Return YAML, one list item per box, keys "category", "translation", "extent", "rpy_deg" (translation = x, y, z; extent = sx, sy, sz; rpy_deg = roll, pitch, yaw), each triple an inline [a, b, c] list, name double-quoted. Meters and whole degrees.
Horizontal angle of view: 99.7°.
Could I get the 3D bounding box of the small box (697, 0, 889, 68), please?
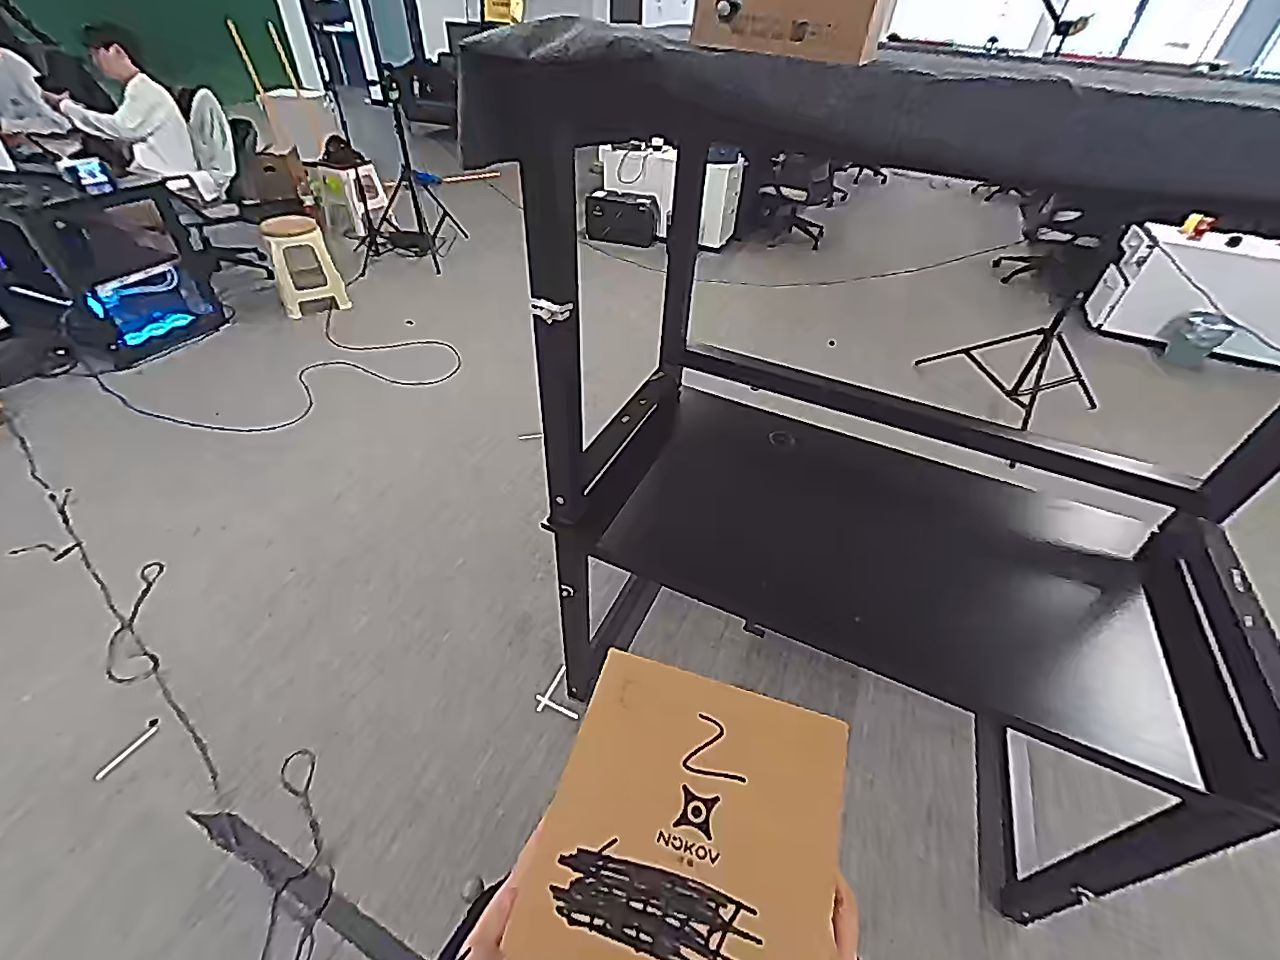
- category: "small box"
  translation: [0.161, -0.509, 0.519]
  extent: [0.168, 0.176, 0.179]
  rpy_deg: [19, 42, 14]
